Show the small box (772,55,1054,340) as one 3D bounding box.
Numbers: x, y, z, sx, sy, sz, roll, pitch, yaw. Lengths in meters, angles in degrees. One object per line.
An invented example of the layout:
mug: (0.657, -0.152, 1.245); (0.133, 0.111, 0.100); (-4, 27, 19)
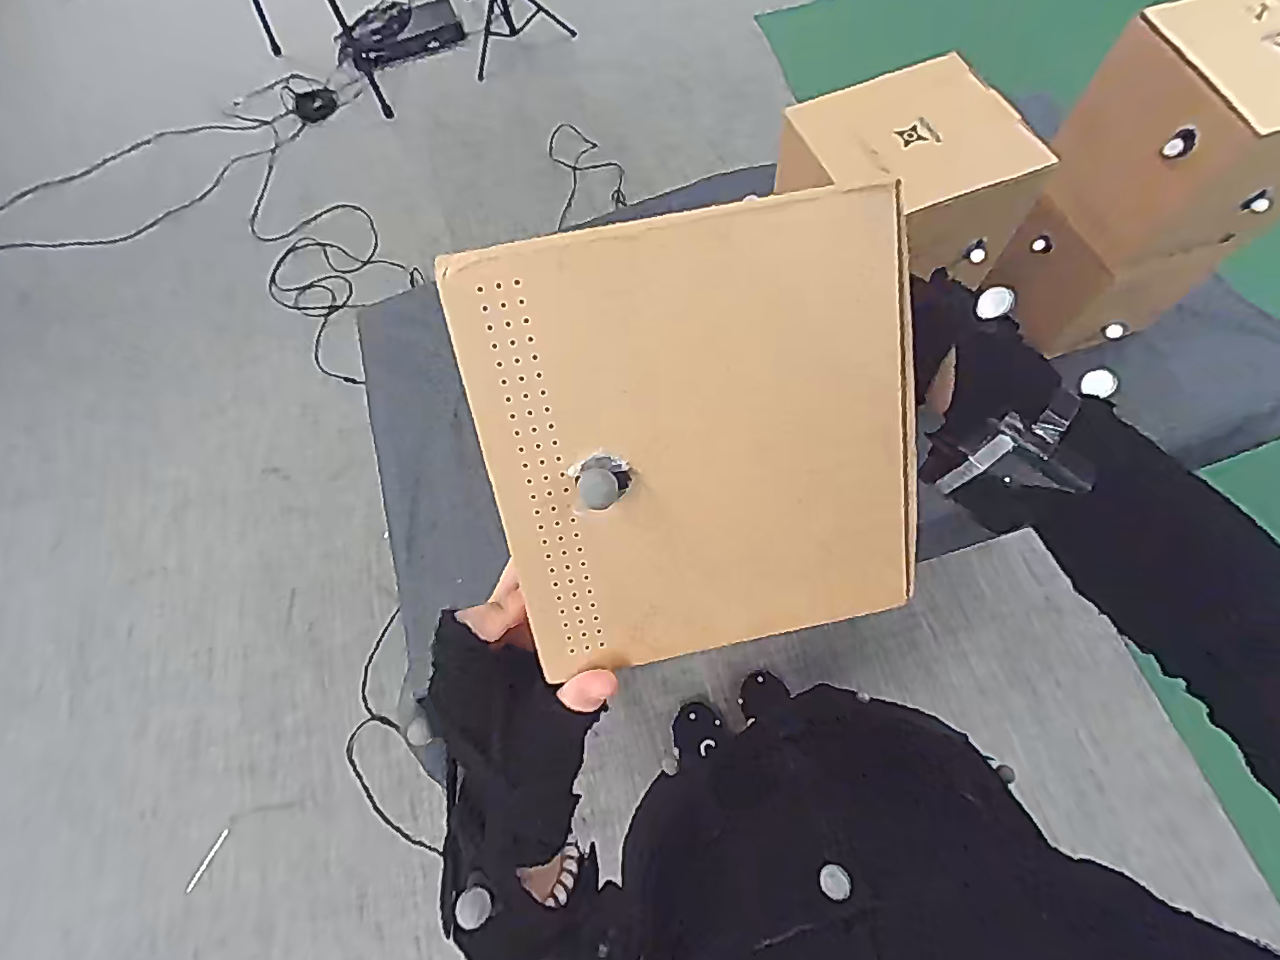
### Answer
small box: (0.253, -0.276, 0.555); (0.179, 0.176, 0.168); (-19, 67, -1)

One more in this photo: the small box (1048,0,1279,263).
small box: (0.566, -0.346, 0.544); (0.168, 0.176, 0.179); (-15, 68, 1)
